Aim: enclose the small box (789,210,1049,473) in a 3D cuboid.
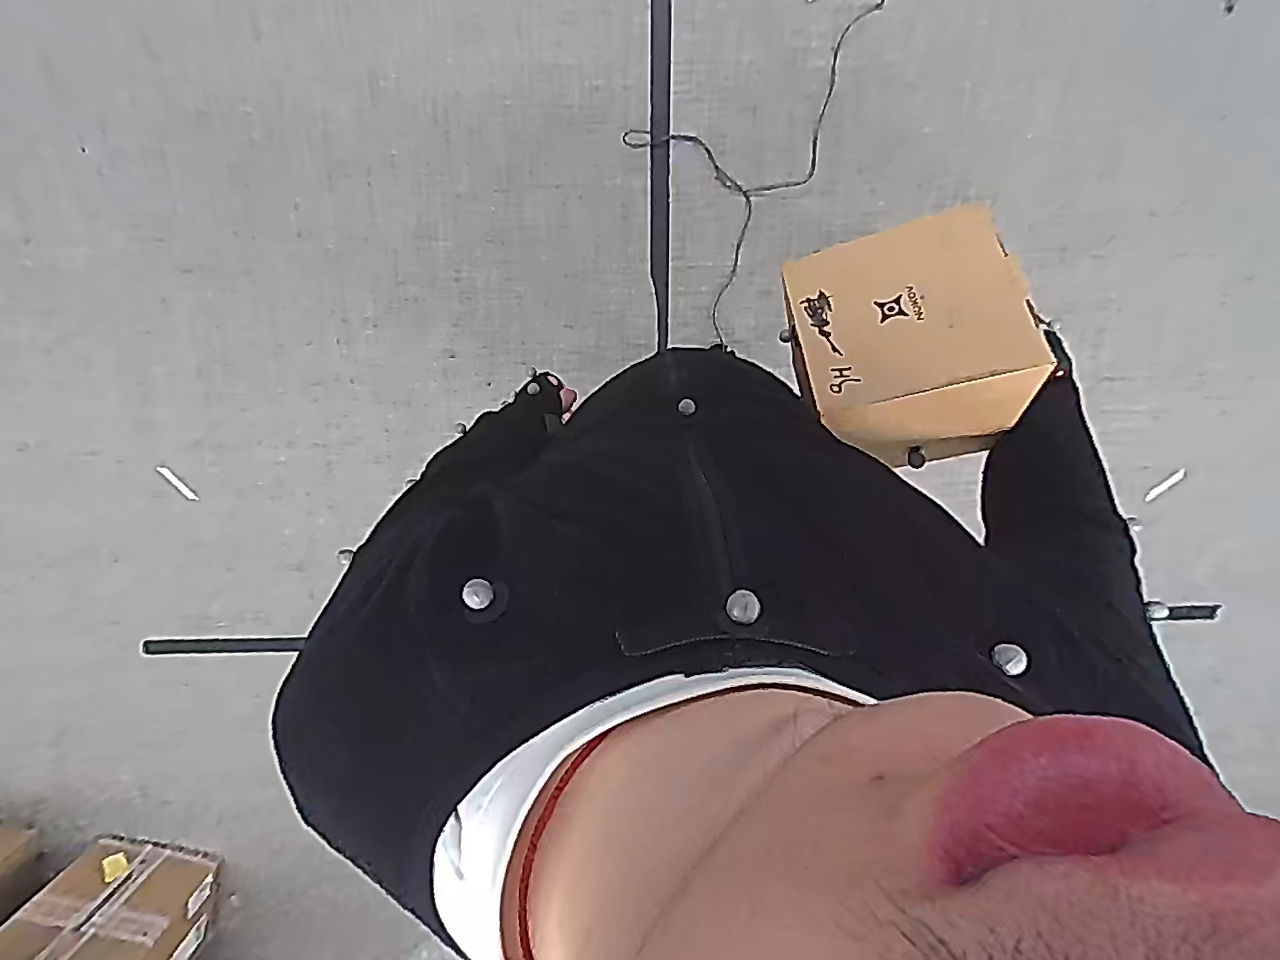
[{"bbox_3d":[0.255,-0.122,0.542,0.179,0.176,0.168,-12,66,15],"label":"small box"}]
